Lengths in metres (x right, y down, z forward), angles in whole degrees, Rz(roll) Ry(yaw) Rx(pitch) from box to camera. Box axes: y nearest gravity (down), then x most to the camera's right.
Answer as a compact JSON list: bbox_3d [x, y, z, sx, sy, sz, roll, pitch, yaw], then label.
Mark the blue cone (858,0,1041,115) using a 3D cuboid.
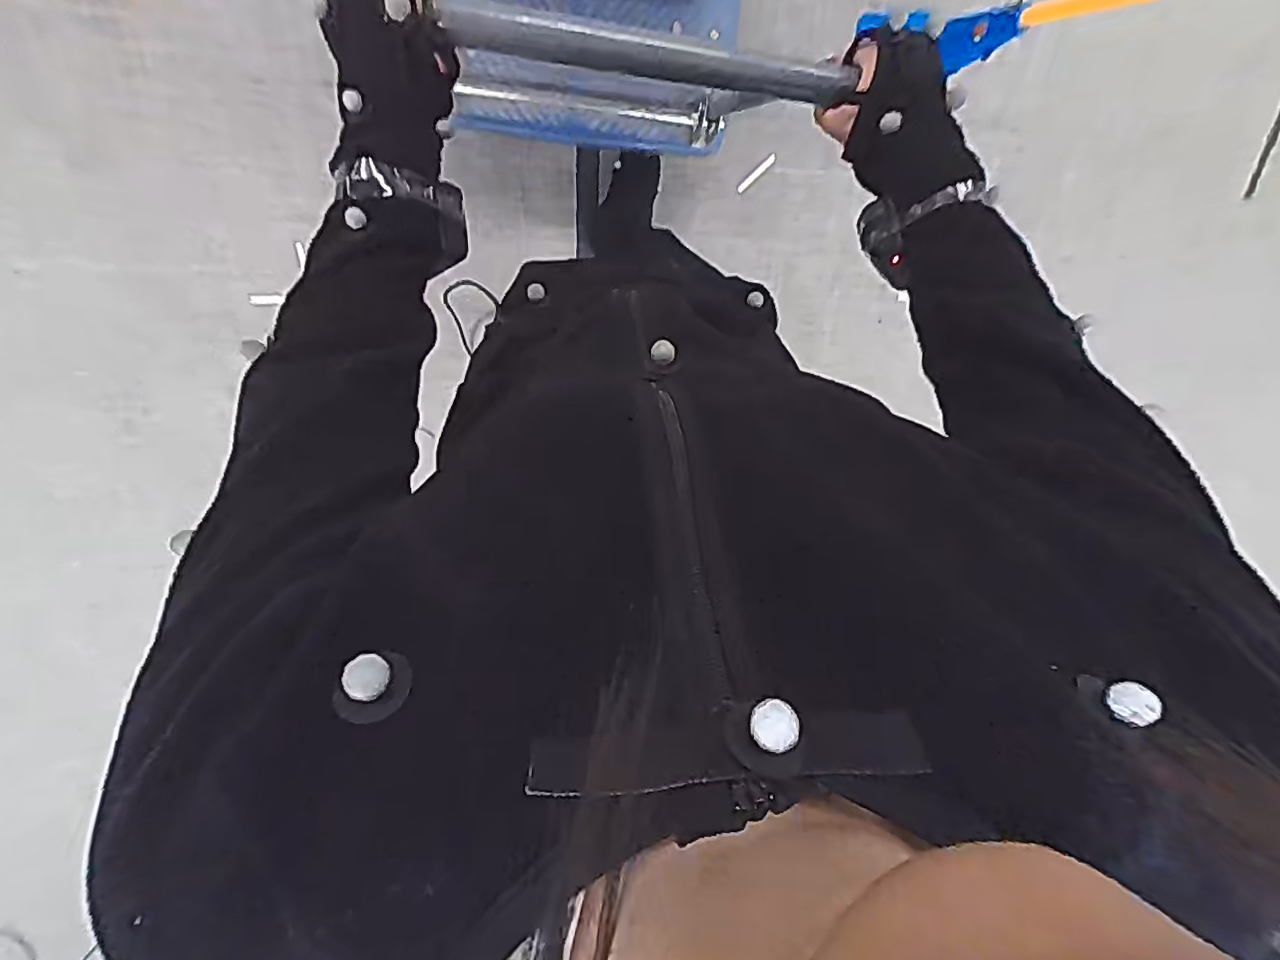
[{"bbox_3d":[0.602,-0.851,1.044,0.193,0.380,0.192,-7,116,-9],"label":"blue cone"}]
